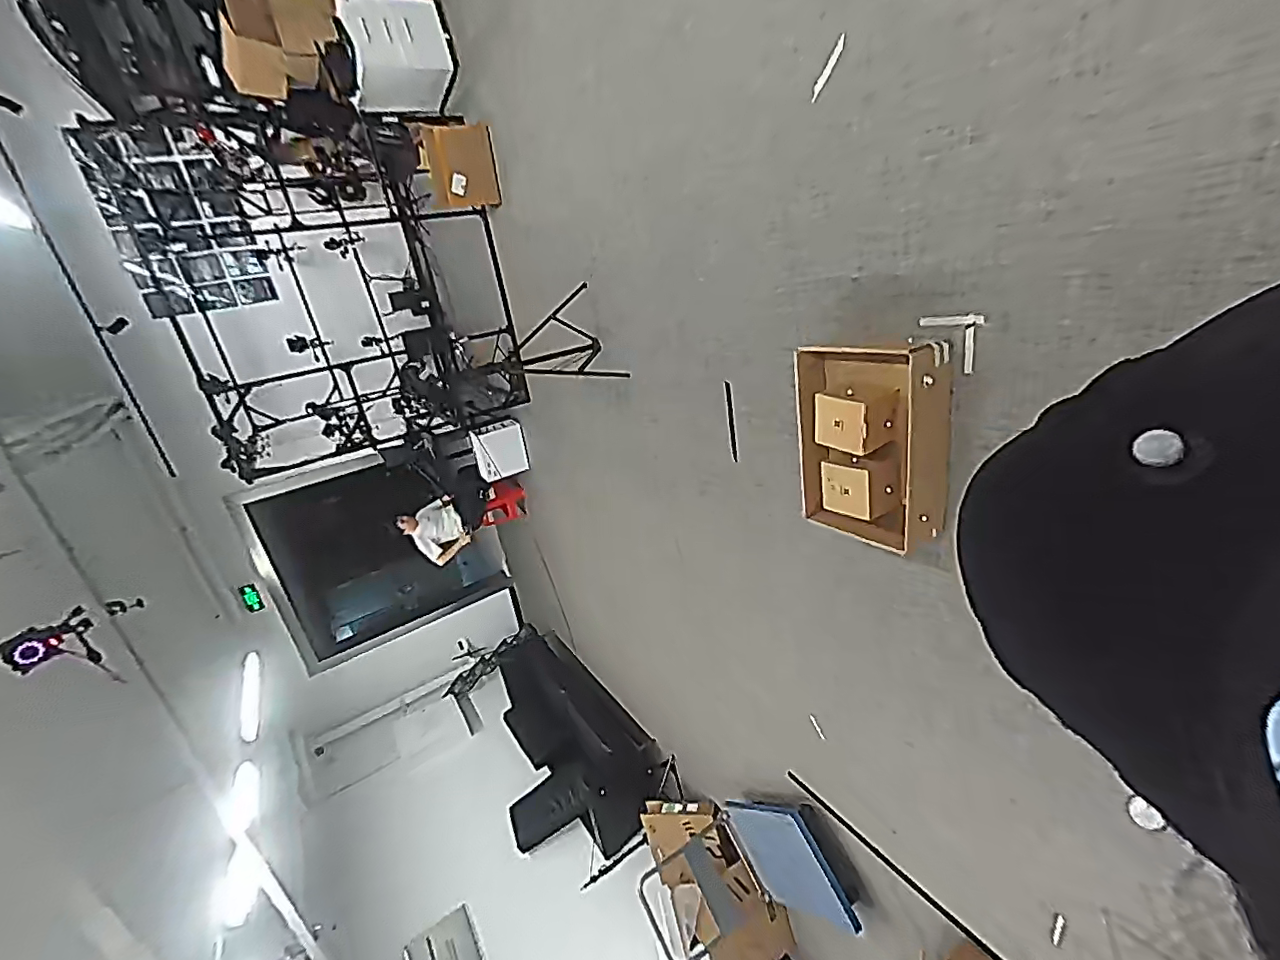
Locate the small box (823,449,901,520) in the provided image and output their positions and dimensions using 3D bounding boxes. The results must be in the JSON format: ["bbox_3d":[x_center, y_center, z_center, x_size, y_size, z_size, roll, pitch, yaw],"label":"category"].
[{"bbox_3d":[0.711,0.005,1.724,0.179,0.176,0.168,20,125,55],"label":"small box"}]

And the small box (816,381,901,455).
[{"bbox_3d":[0.667,-0.199,1.663,0.179,0.176,0.168,29,134,50],"label":"small box"}]
